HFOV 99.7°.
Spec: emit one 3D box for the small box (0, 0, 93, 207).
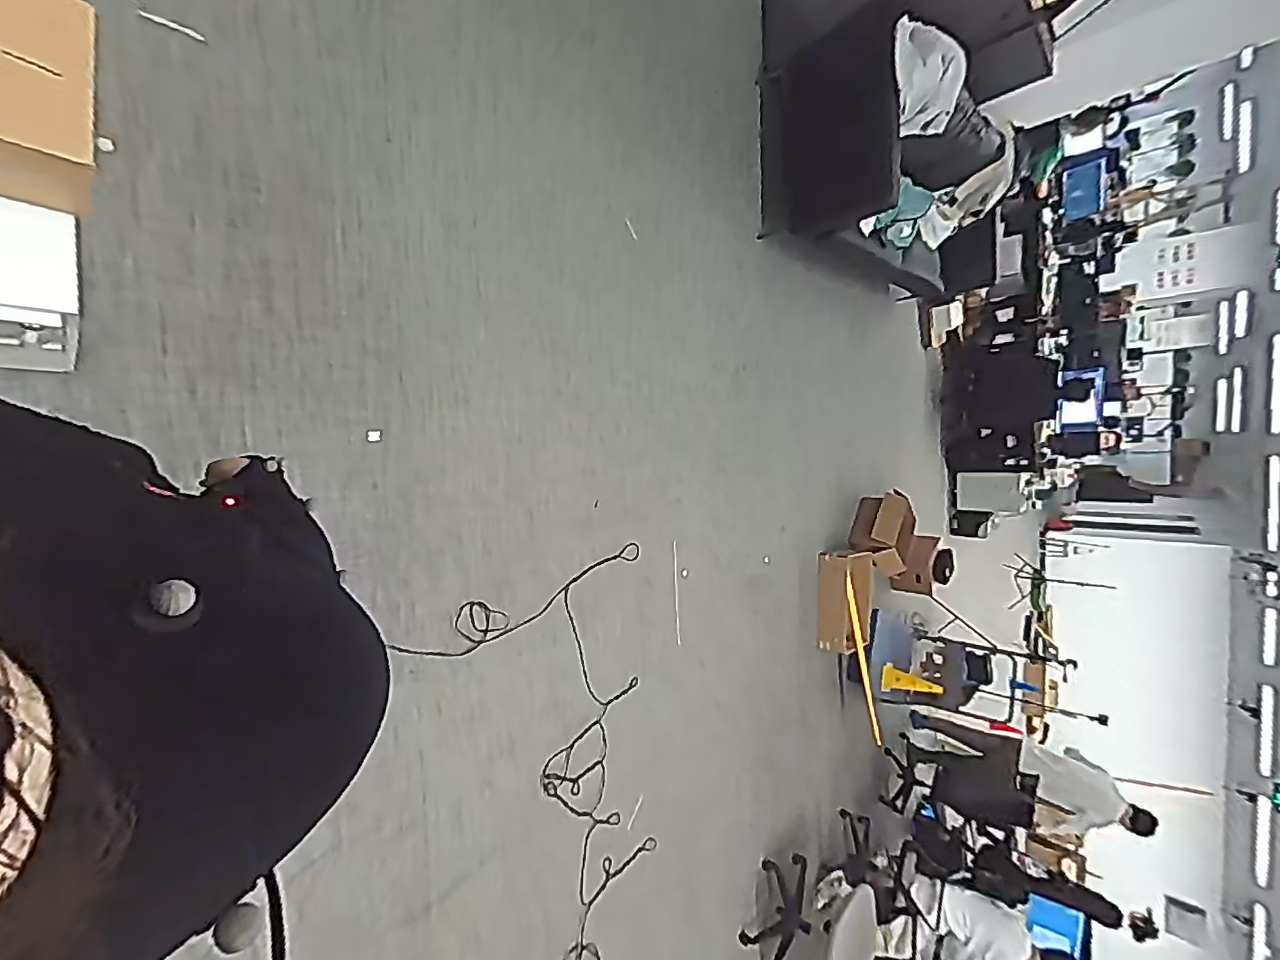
[{"bbox_3d":[-0.680,-0.407,0.545,0.179,0.176,0.168,1,90,-47],"label":"small box"}]
